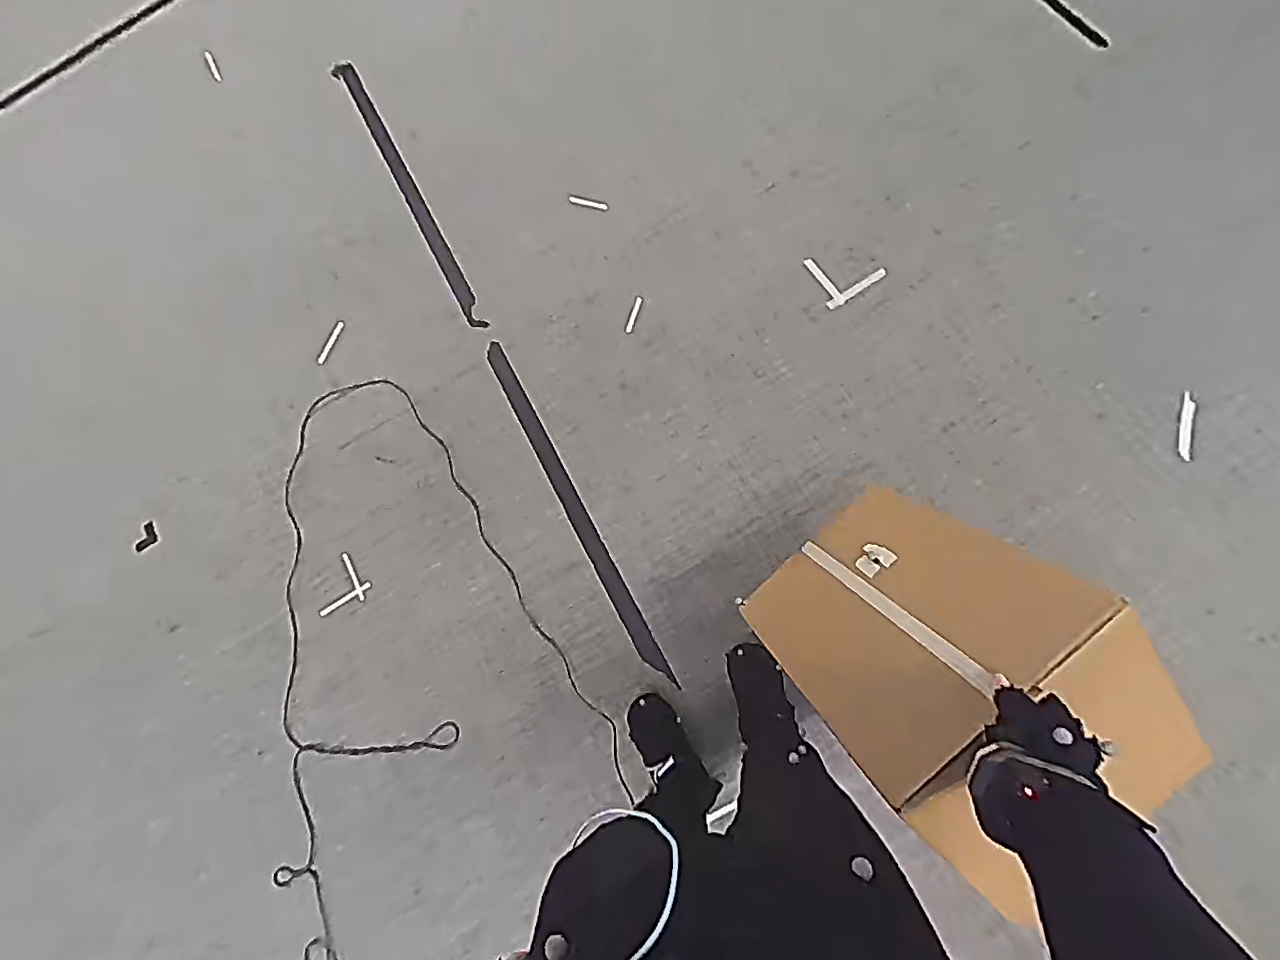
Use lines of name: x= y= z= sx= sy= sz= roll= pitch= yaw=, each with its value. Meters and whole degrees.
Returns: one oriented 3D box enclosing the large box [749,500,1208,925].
large box: x=0.435 y=0.287 z=0.780 sx=0.320 sy=0.408 sz=0.320 roll=-42 pitch=110 yaw=1
